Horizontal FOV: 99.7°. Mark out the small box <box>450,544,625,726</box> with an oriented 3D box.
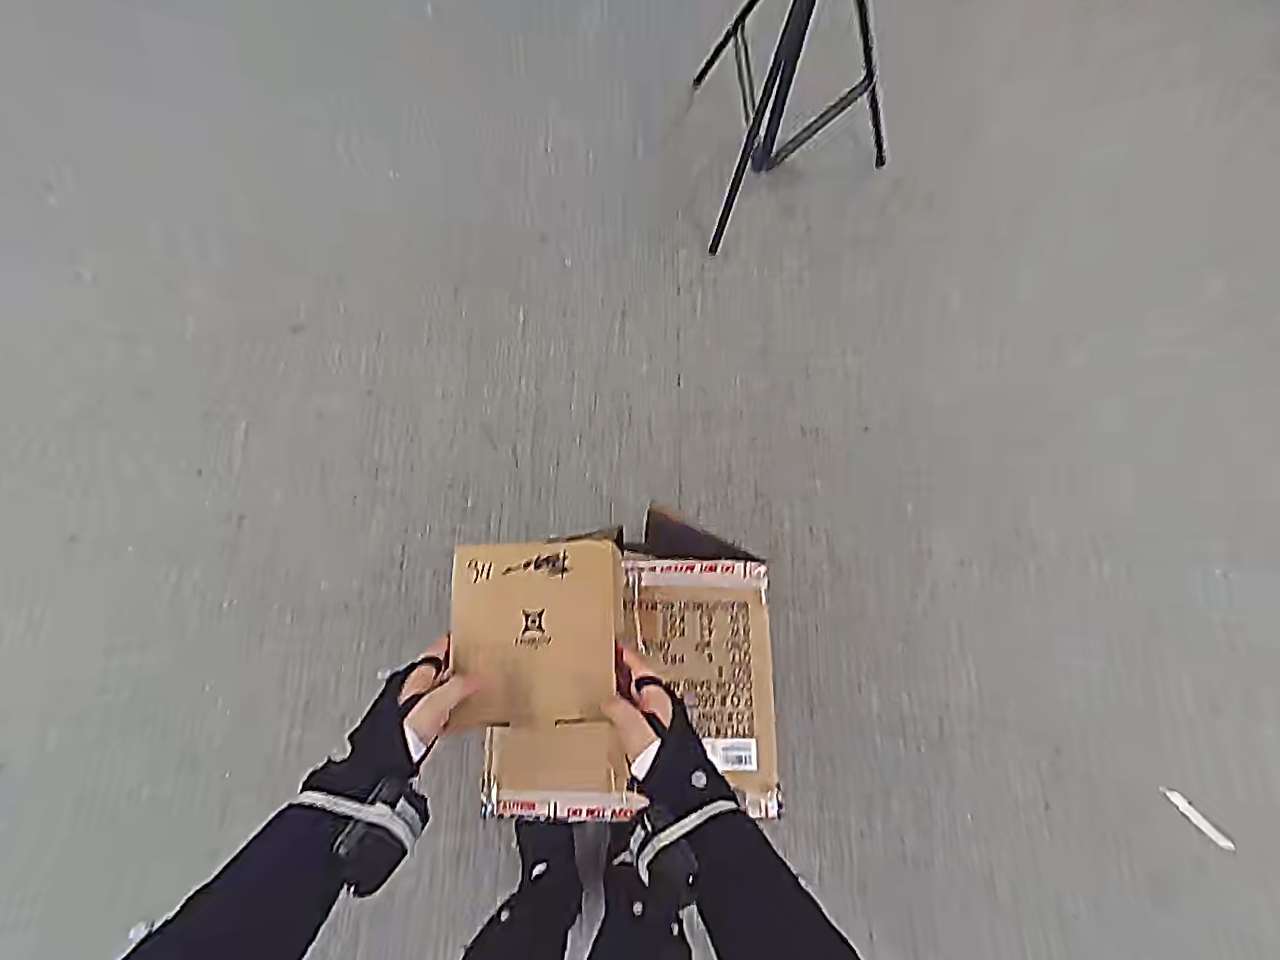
[{"bbox_3d":[-0.105,0.168,0.620,0.168,0.176,0.179,-2,78,1],"label":"small box"}]
